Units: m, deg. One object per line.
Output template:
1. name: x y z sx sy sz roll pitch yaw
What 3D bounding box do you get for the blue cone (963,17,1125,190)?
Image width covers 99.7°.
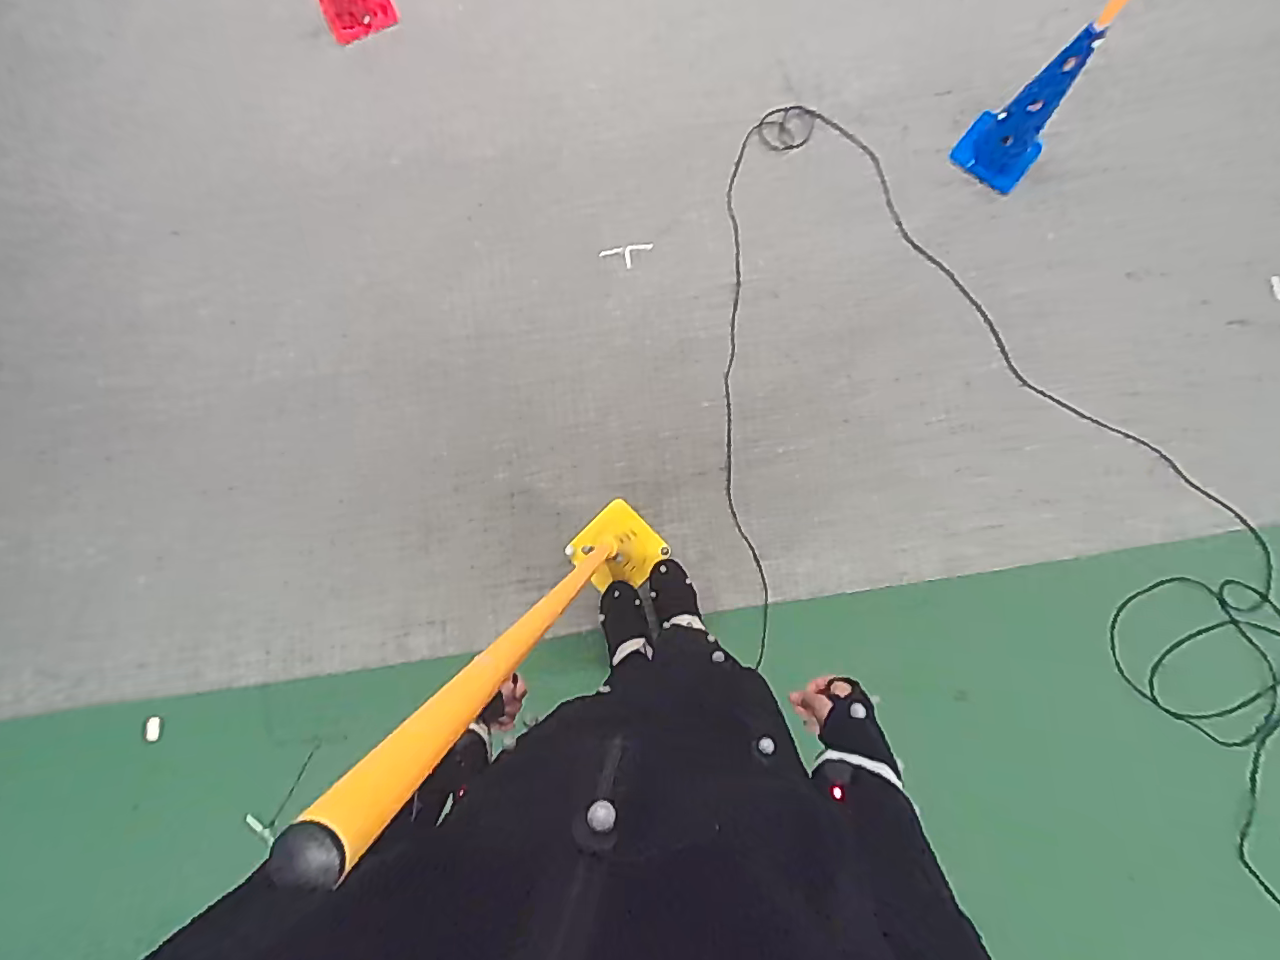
1. blue cone: 0.999 -0.934 1.325 0.192 0.380 0.193 37 82 6
